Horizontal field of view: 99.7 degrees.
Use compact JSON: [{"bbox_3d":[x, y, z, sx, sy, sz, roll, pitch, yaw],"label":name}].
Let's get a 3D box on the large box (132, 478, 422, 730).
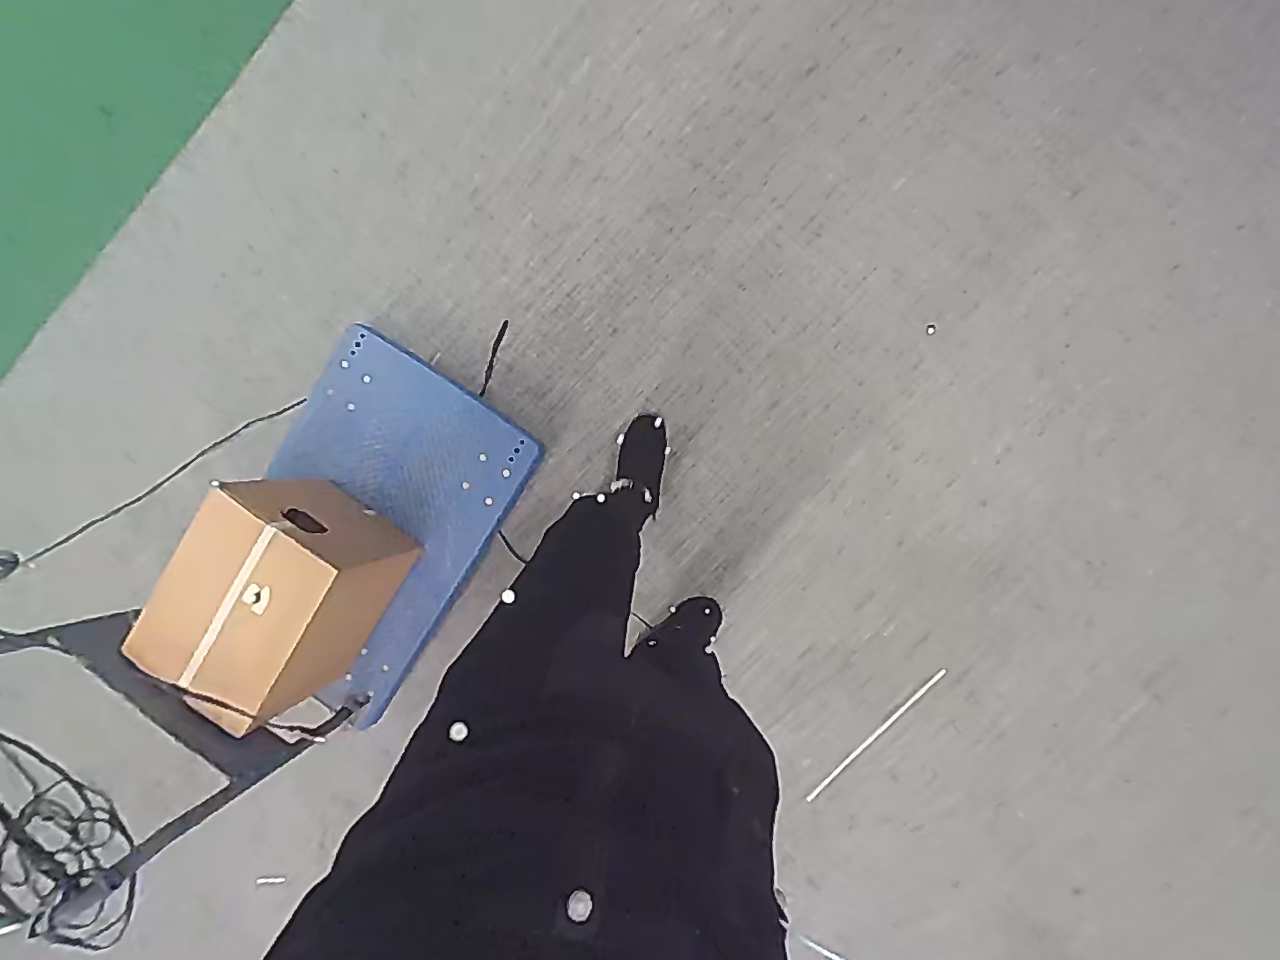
[{"bbox_3d":[-0.773,0.242,1.199,0.320,0.320,0.408,33,95,5],"label":"large box"}]
